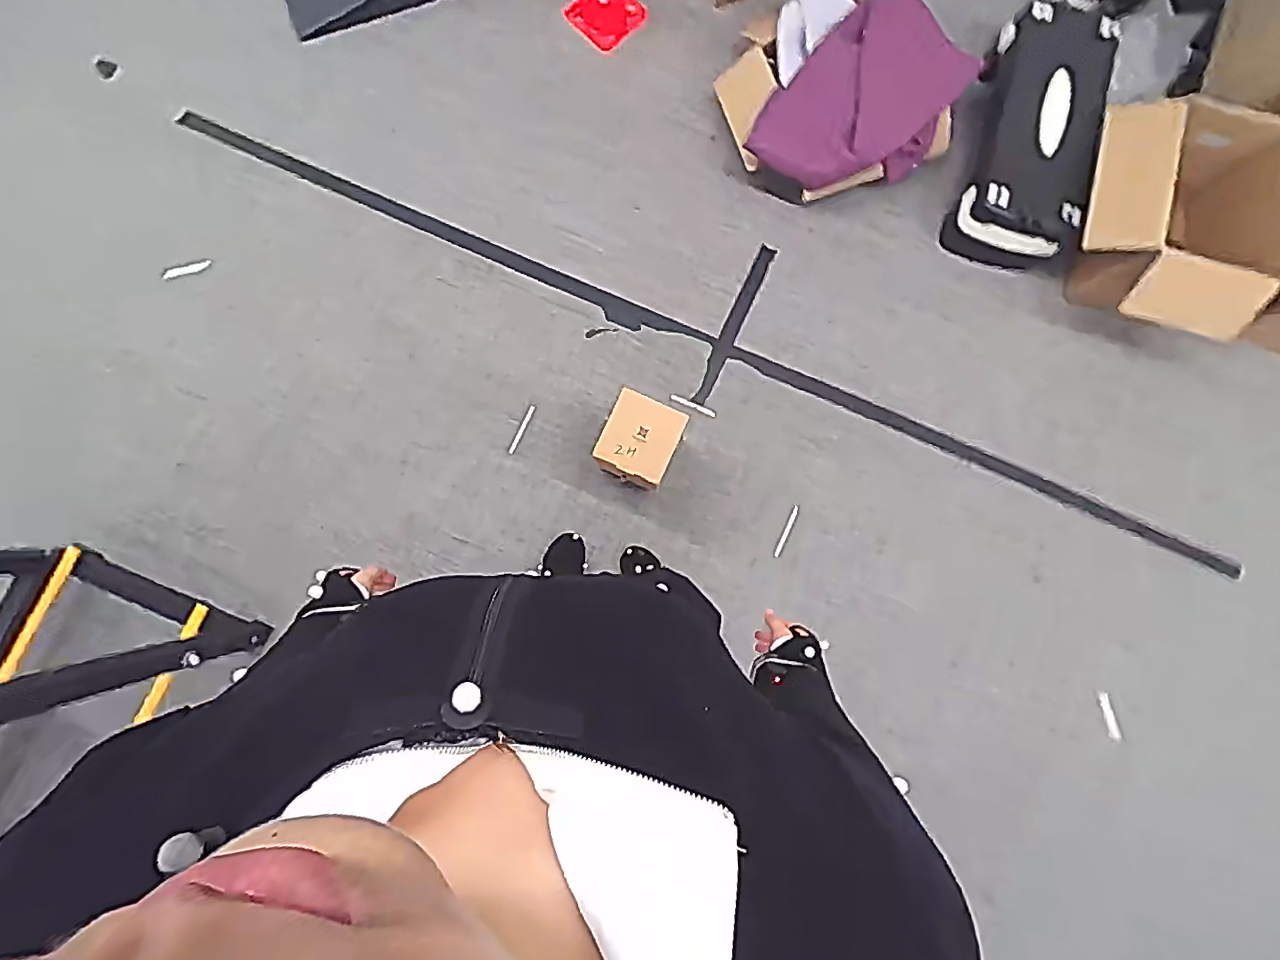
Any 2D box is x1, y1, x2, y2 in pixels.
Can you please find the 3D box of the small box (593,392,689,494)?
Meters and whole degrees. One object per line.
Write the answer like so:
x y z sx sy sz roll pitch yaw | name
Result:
0.001 -0.081 1.289 0.168 0.176 0.179 25 84 3 | small box
